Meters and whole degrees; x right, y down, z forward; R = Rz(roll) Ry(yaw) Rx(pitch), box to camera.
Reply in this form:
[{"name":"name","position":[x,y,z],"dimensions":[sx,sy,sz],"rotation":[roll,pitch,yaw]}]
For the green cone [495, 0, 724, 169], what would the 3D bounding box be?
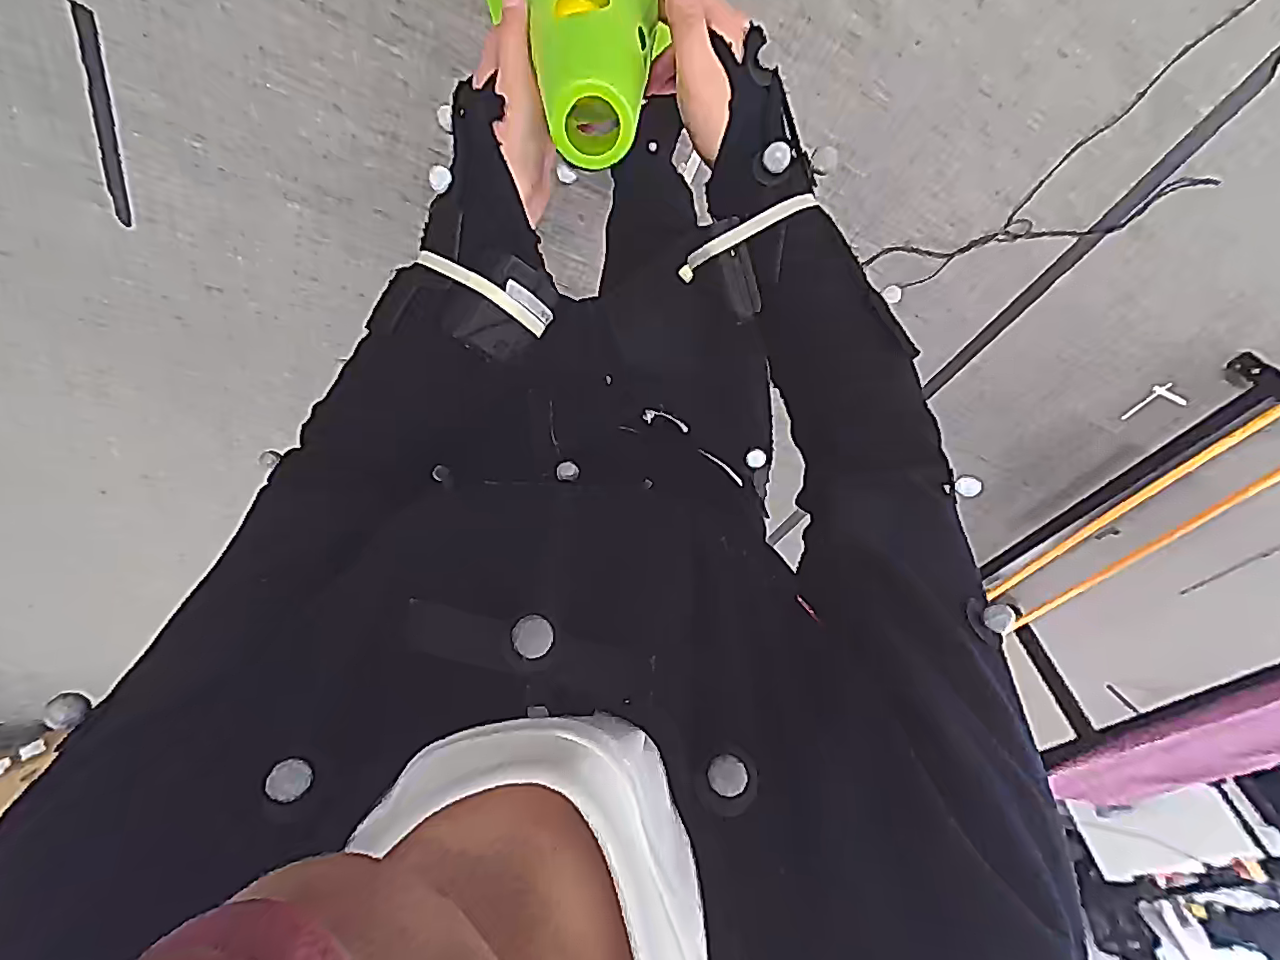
[{"name":"green cone","position":[-0.027,-0.310,0.342],"dimensions":[0.202,0.368,0.200],"rotation":[-6,145,6]}]
